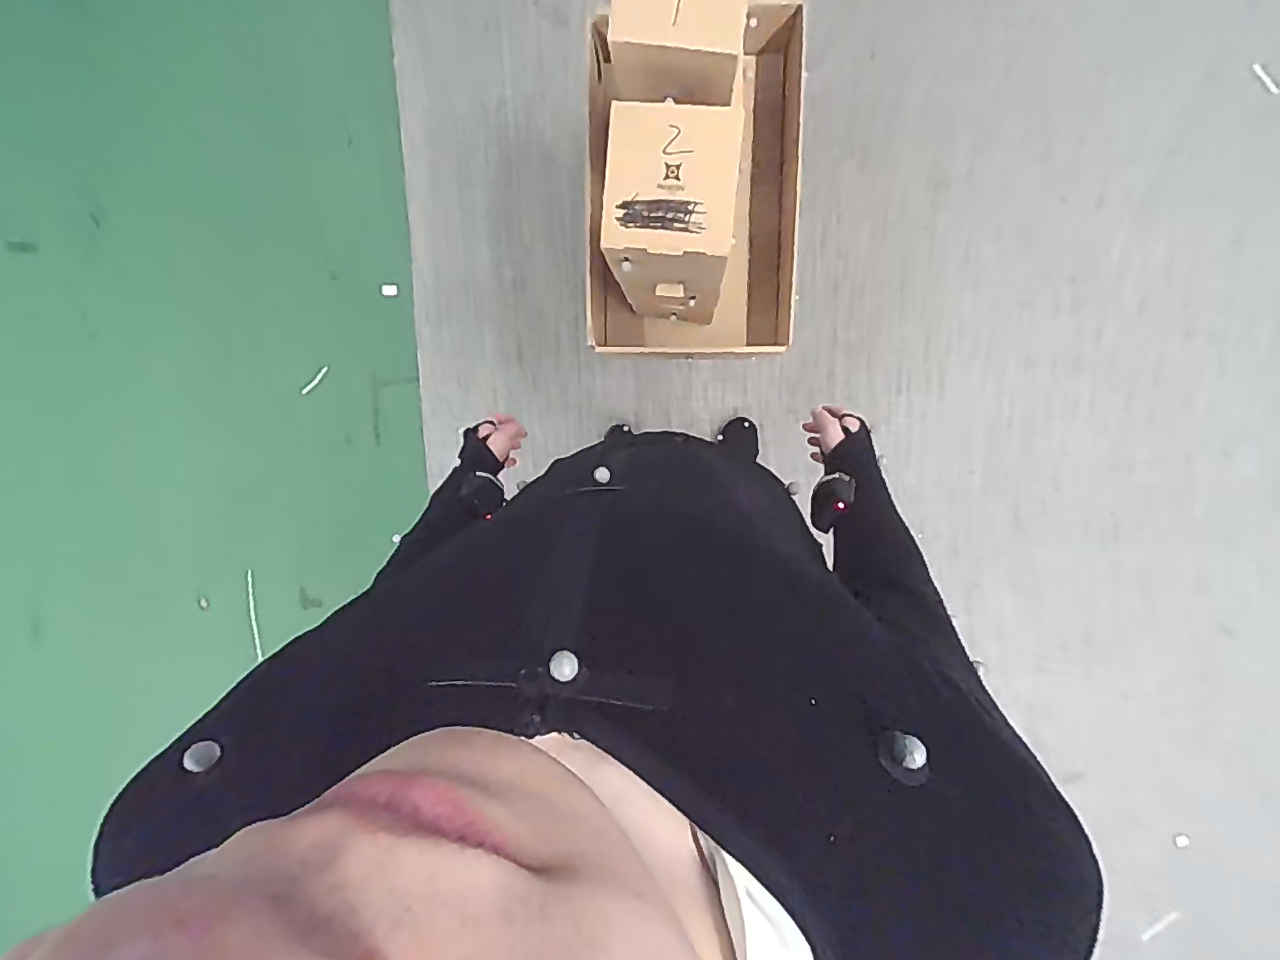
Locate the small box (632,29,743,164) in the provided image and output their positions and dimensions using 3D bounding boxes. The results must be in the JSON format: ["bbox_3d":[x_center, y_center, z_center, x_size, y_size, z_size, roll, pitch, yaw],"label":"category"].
[{"bbox_3d":[0.074,-0.641,0.877,0.168,0.176,0.179,0,99,4],"label":"small box"}]

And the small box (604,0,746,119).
[{"bbox_3d":[0.055,-0.622,0.715,0.168,0.176,0.179,10,100,3],"label":"small box"}]

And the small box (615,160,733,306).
[{"bbox_3d":[0.057,-0.400,0.905,0.168,0.176,0.179,7,96,3],"label":"small box"}]
